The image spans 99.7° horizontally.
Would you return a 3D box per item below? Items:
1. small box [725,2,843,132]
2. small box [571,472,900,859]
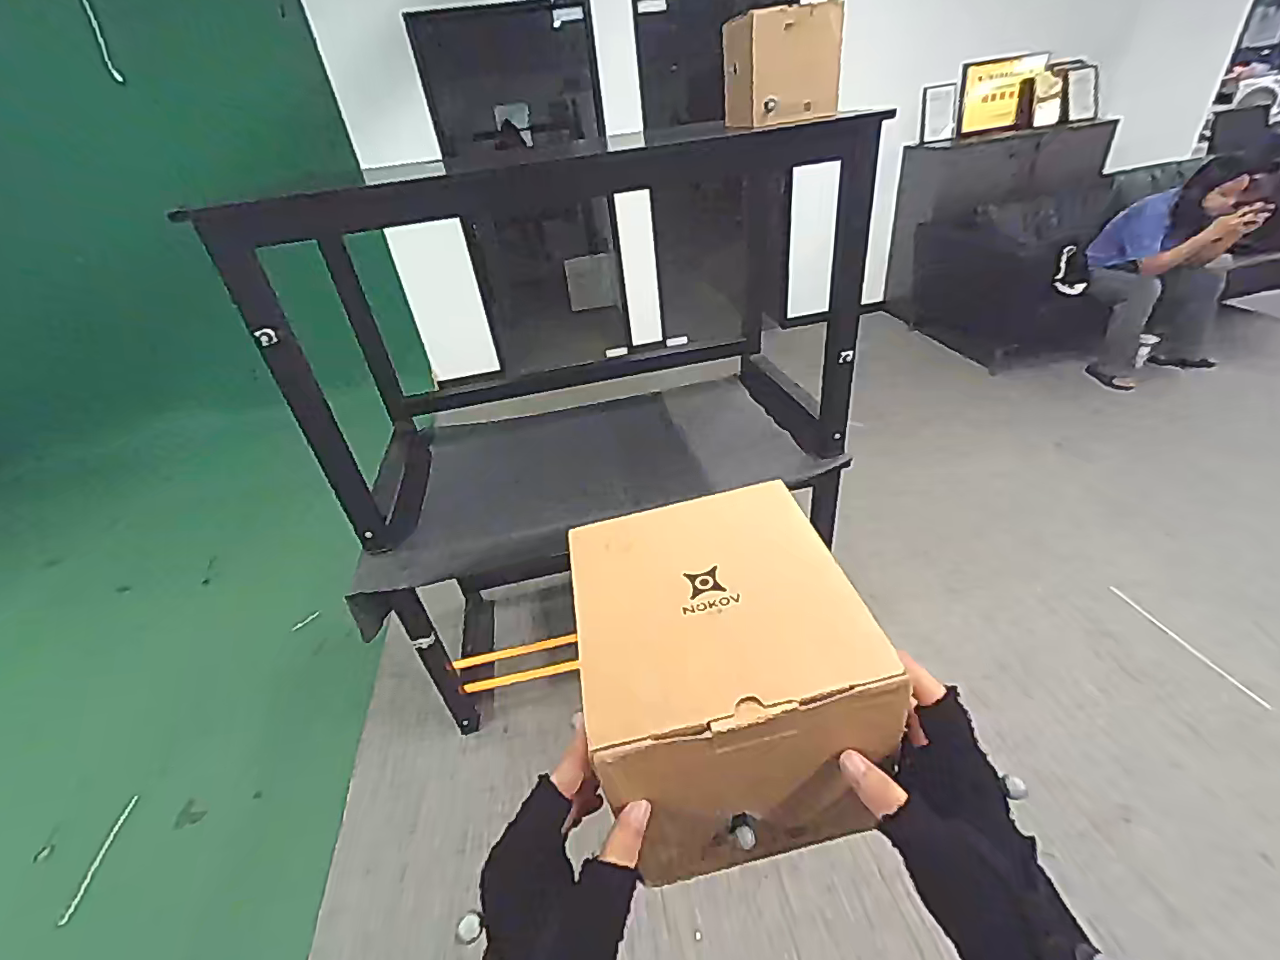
[{"bbox_3d":[0.266,-0.772,1.026,0.168,0.176,0.179,-10,33,-3],"label":"small box"},{"bbox_3d":[0.052,0.122,0.382,0.168,0.176,0.179,-13,35,-2],"label":"small box"}]
